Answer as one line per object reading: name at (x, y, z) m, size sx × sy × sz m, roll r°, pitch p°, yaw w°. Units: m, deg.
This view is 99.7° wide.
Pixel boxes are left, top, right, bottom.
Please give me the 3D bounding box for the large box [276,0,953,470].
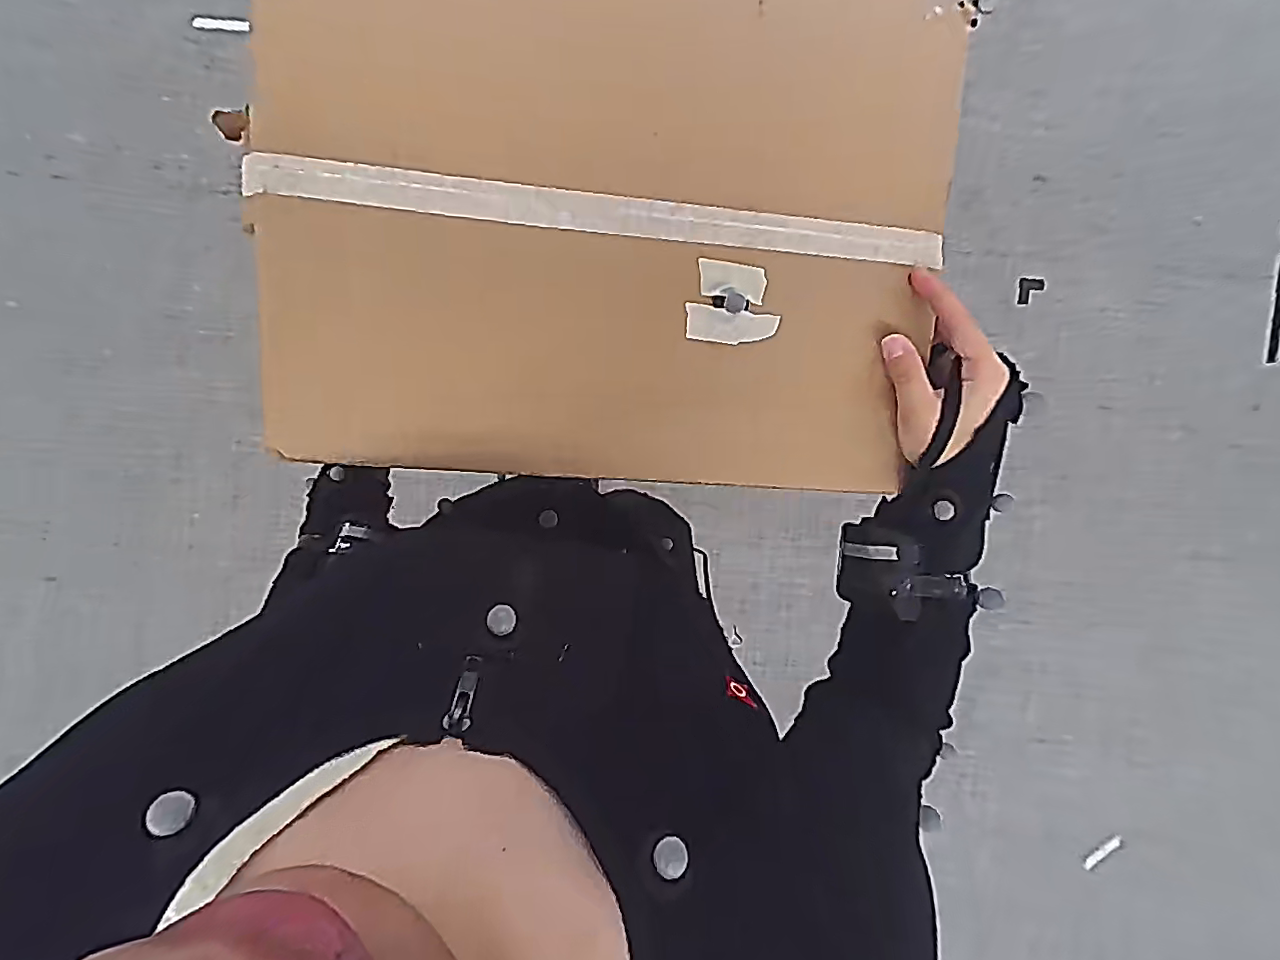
large box at (-0.028, -0.185, 0.477) m, size 0.408 × 0.320 × 0.320 m, roll 3°, pitch 99°, yaw -9°
